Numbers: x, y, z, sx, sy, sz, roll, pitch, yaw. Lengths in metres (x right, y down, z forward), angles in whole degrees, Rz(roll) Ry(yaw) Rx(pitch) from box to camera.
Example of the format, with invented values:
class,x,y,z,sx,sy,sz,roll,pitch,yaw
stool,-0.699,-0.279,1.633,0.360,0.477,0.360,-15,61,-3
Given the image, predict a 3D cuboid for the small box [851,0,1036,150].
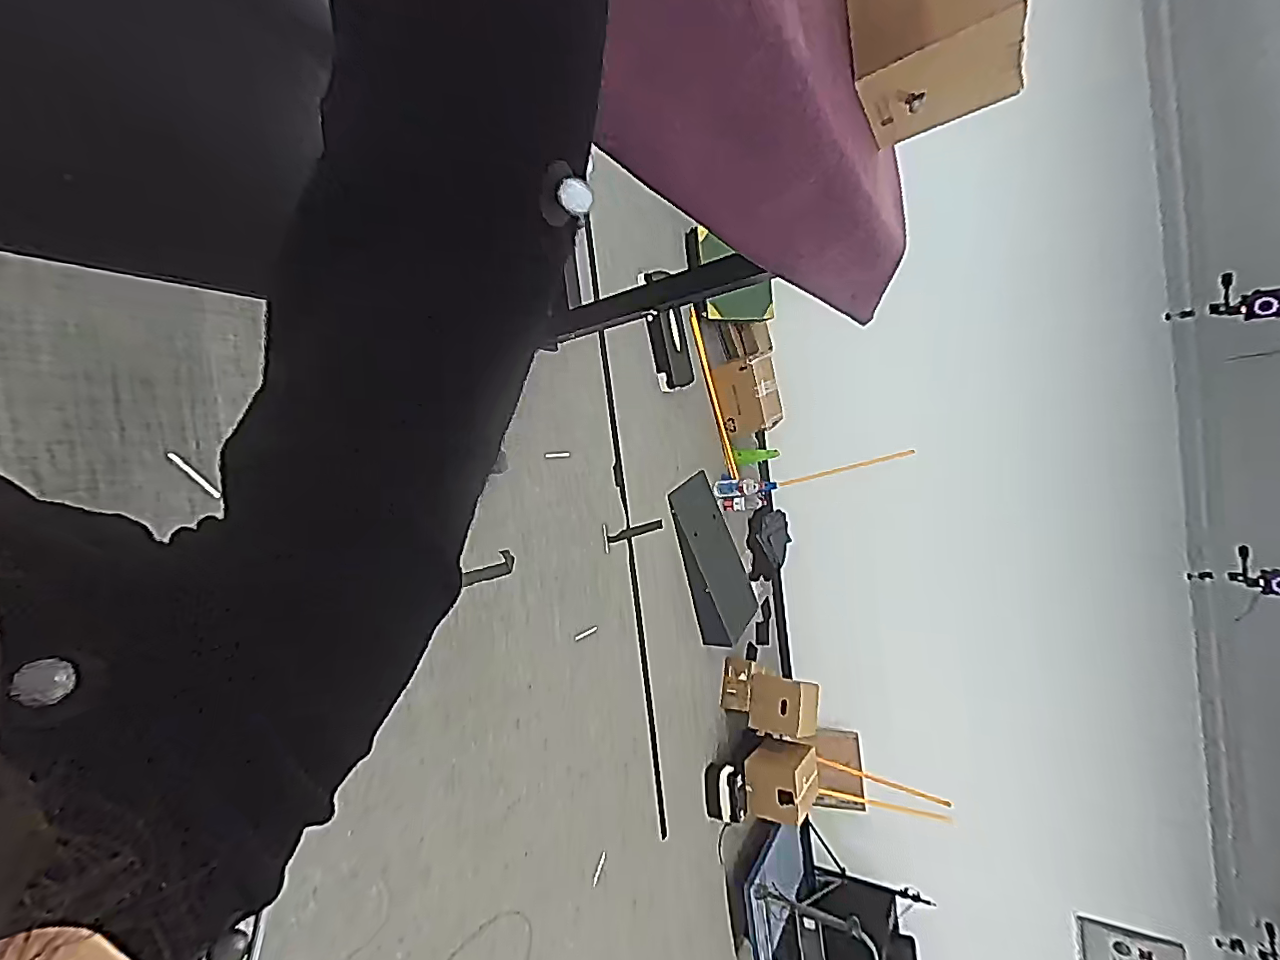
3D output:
class,x,y,z,sx,sy,sz,roll,pitch,yaw
small box,0.356,-0.547,0.647,0.168,0.176,0.179,-2,87,-56
